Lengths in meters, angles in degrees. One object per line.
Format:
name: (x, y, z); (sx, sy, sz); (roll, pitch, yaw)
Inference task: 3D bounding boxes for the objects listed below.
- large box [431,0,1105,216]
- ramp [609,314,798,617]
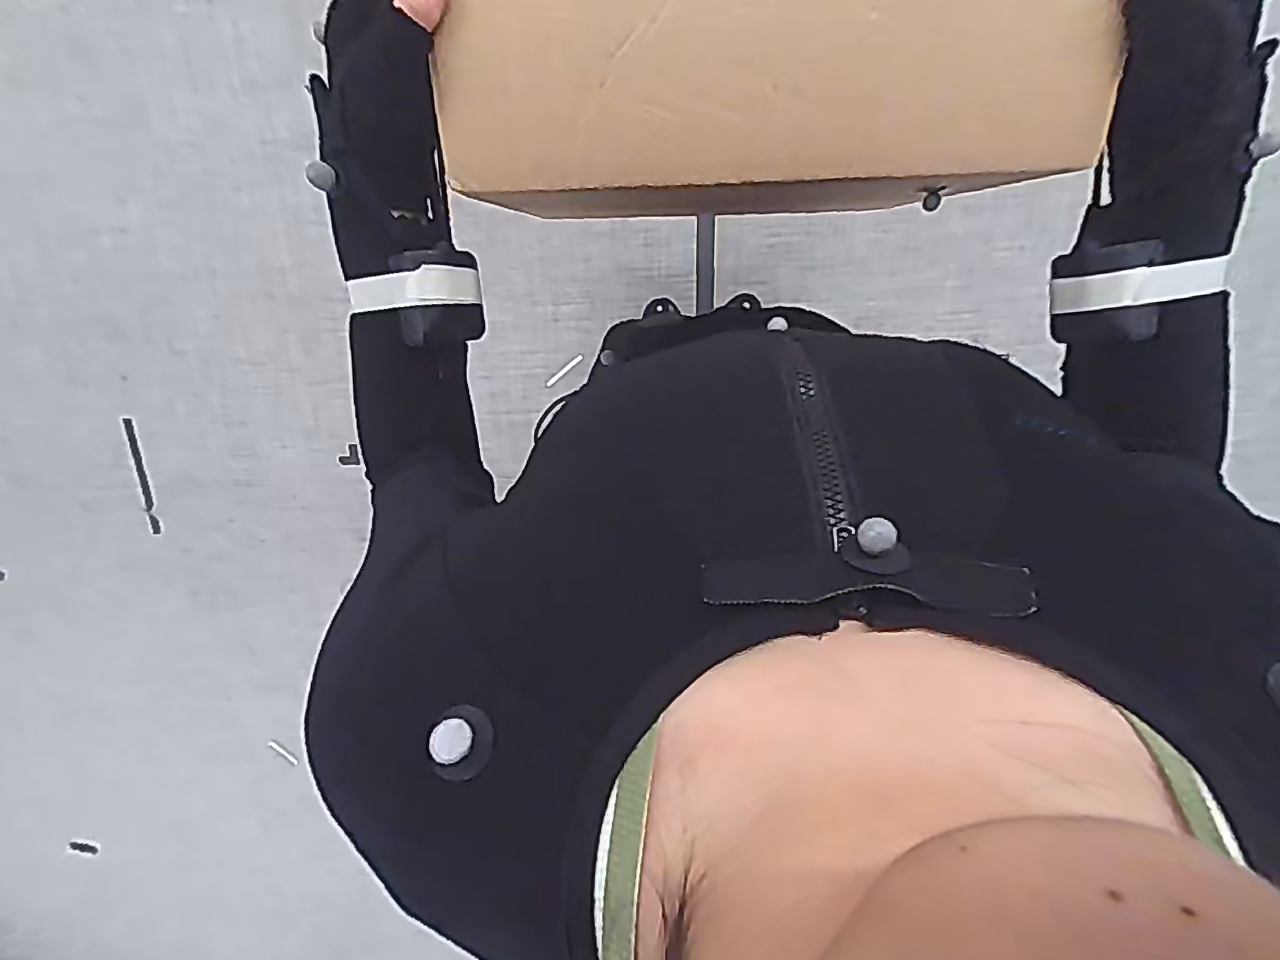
large box: (0.076, -0.395, 0.432); (0.408, 0.320, 0.320); (-1, 113, 2)
ramp: (0.185, 0.021, 1.616); (0.509, 0.206, 0.991); (-3, 107, 3)
